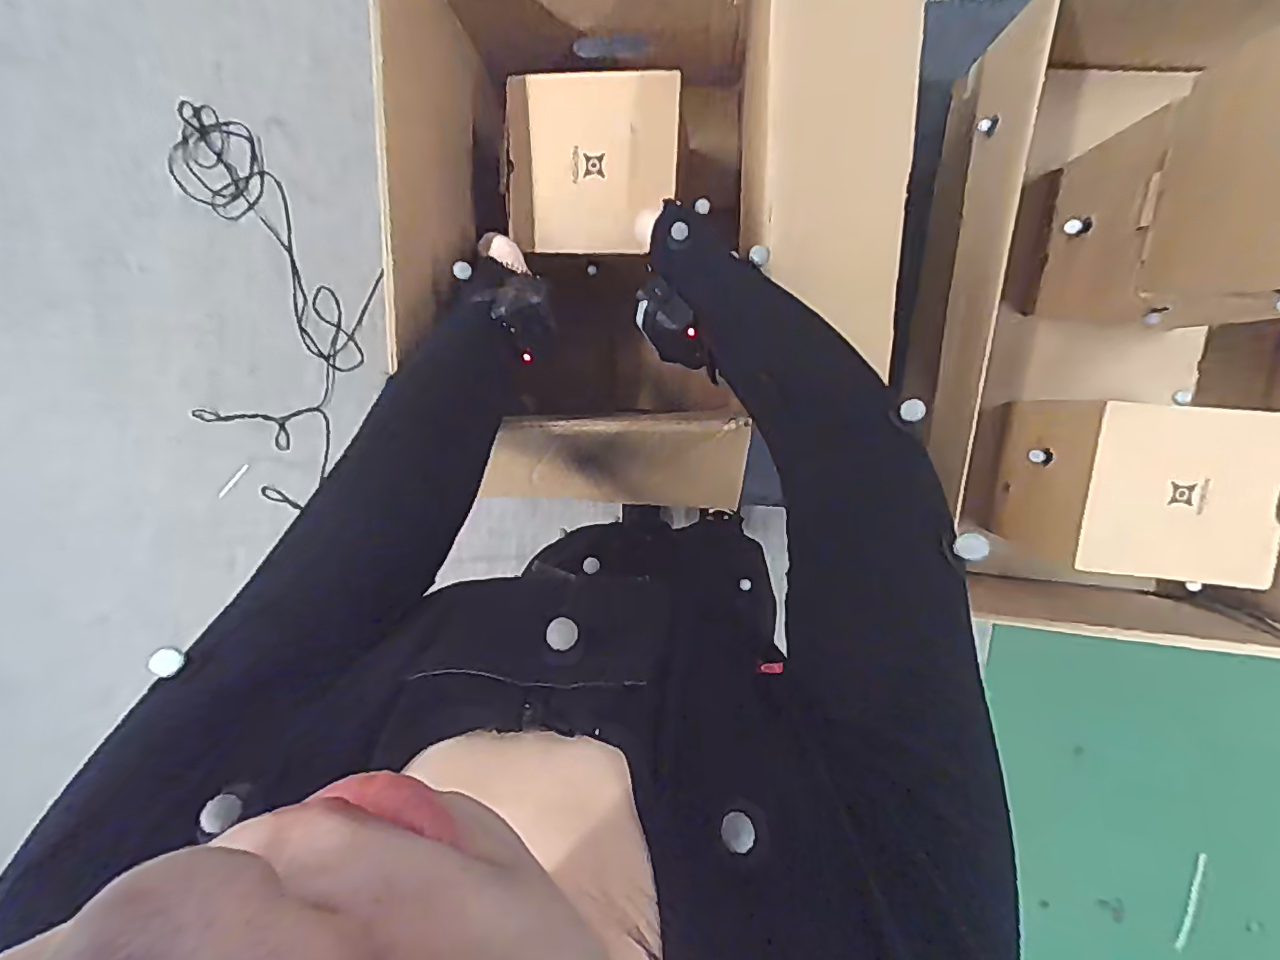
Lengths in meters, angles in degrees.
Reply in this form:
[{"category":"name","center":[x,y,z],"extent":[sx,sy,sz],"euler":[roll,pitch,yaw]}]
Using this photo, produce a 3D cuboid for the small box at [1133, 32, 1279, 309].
[{"category":"small box","center":[0.523,-0.231,0.394],"extent":[0.168,0.176,0.179],"euler":[7,102,4]}]
